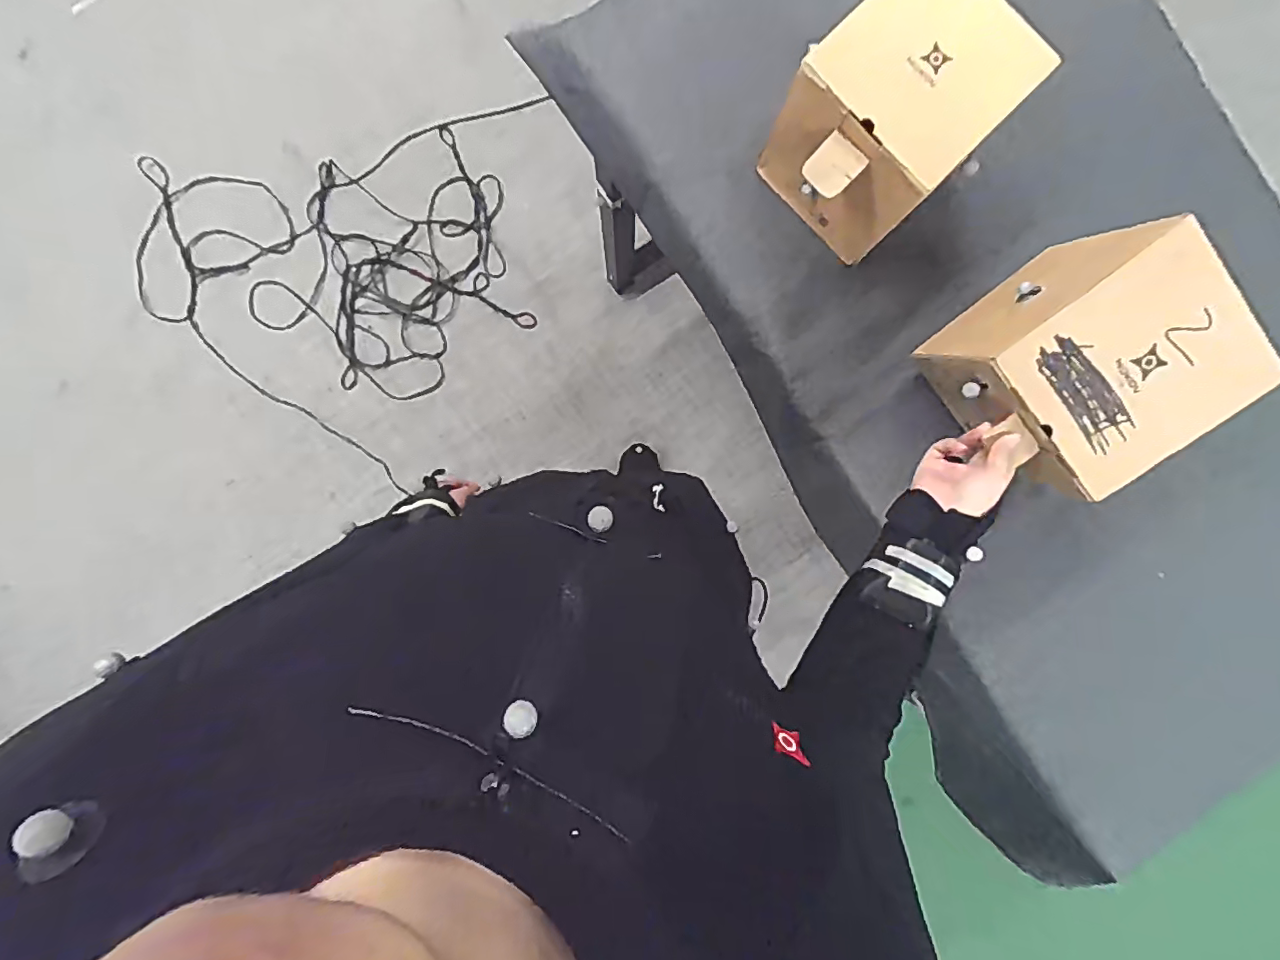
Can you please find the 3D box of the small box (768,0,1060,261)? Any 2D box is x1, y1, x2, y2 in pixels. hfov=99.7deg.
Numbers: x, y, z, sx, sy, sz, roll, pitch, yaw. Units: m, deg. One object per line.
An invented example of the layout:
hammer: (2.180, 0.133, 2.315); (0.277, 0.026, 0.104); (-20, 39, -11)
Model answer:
small box: (0.262, -0.372, 0.564); (0.168, 0.176, 0.179); (45, 89, -1)
